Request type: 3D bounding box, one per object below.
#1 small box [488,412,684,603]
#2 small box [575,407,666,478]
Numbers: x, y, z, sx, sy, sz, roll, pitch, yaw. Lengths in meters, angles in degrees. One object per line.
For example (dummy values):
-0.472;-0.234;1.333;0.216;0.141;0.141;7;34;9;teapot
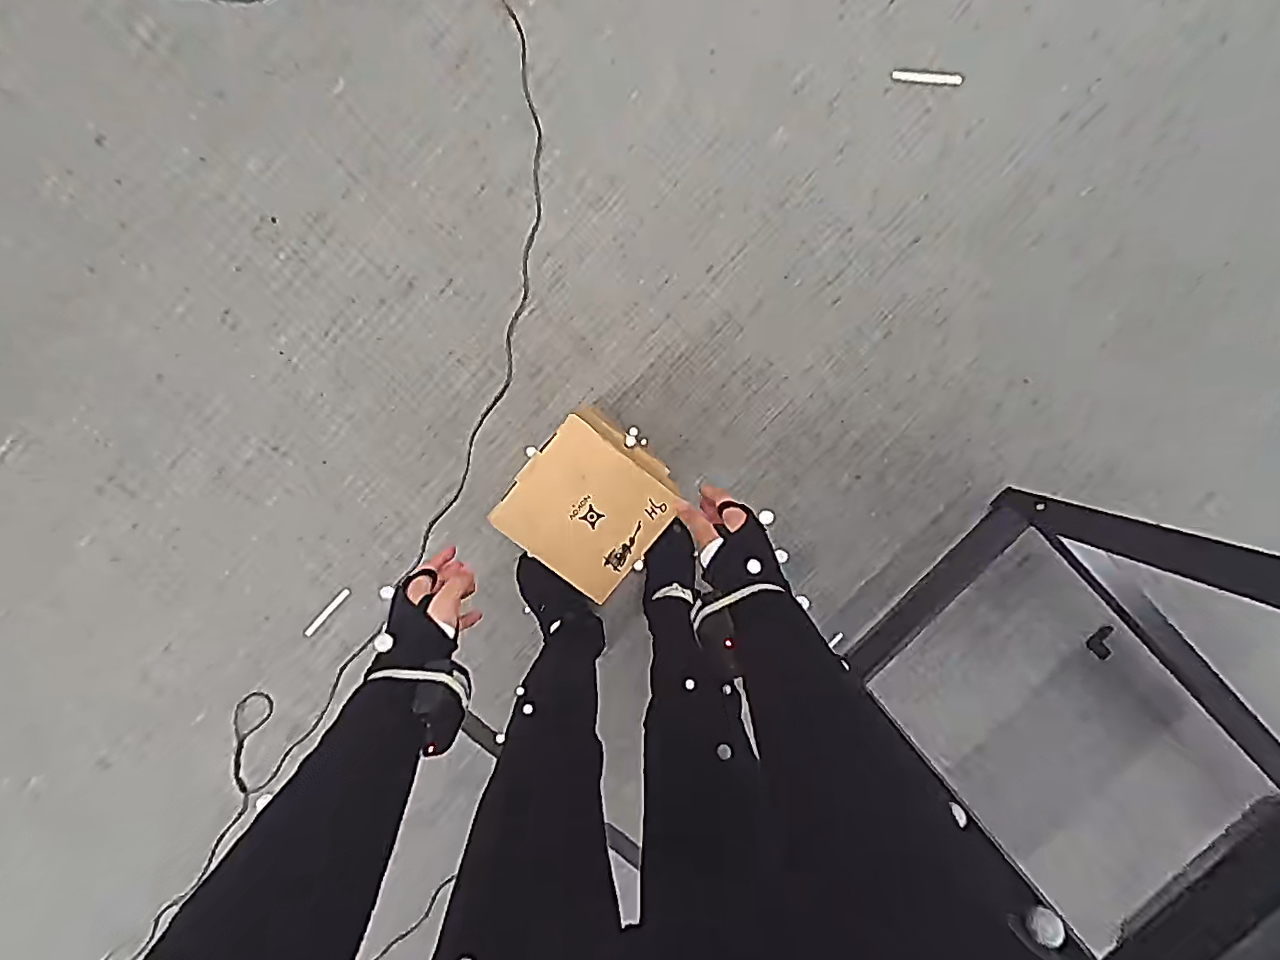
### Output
-0.068;0.026;0.718;0.179;0.176;0.168;39;95;-8;small box
-0.079;-0.003;0.880;0.168;0.176;0.179;36;94;-9;small box
